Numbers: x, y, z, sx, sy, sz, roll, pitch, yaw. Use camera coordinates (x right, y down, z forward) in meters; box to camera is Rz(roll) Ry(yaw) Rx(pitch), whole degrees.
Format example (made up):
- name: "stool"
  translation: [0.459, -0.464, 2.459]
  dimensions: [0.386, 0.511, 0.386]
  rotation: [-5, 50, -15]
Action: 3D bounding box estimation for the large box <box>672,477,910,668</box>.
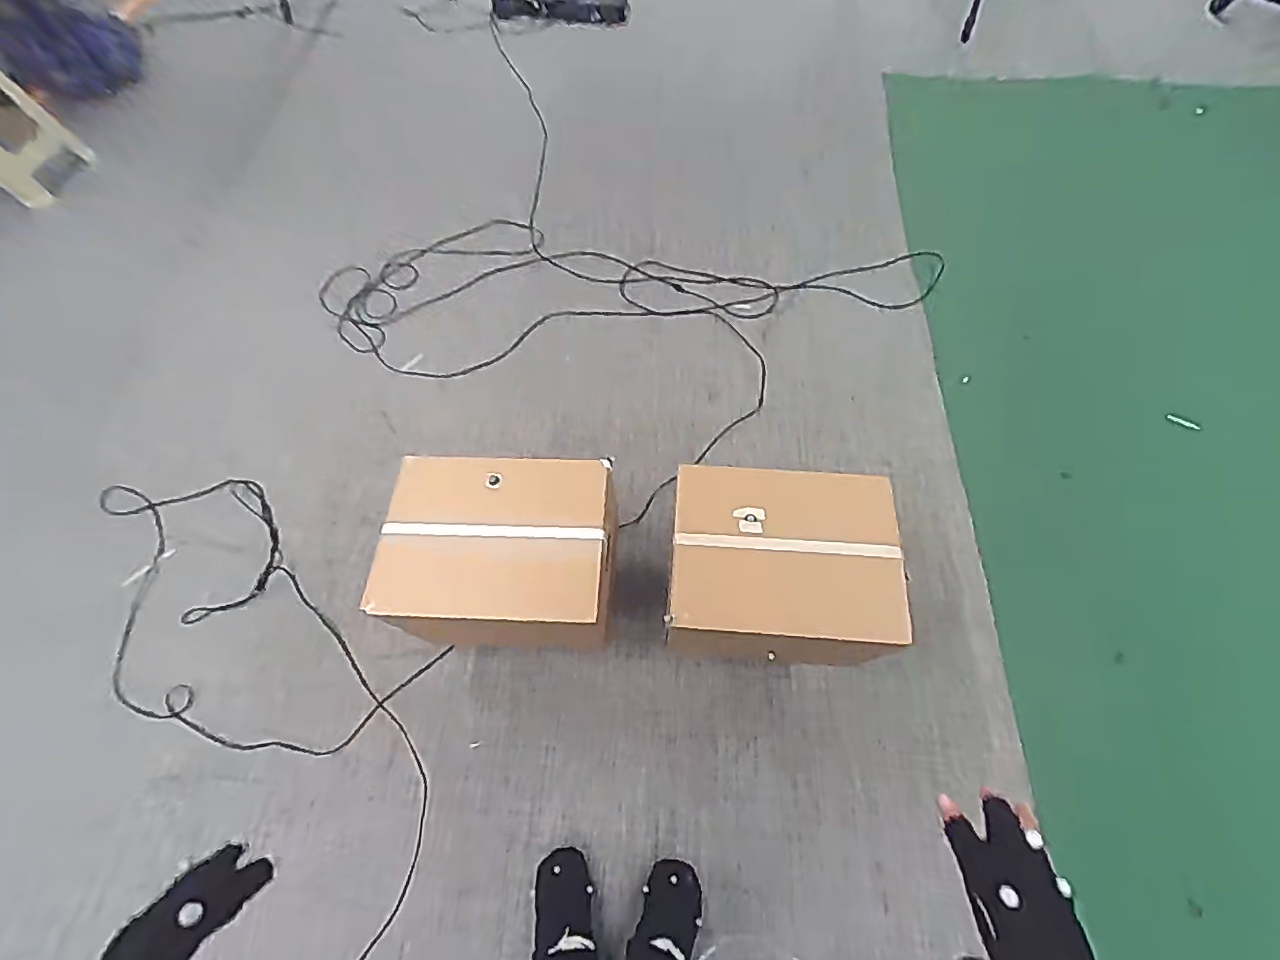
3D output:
- name: "large box"
  translation: [0.277, 0.204, 1.119]
  dimensions: [0.408, 0.320, 0.320]
  rotation: [4, 64, 4]
